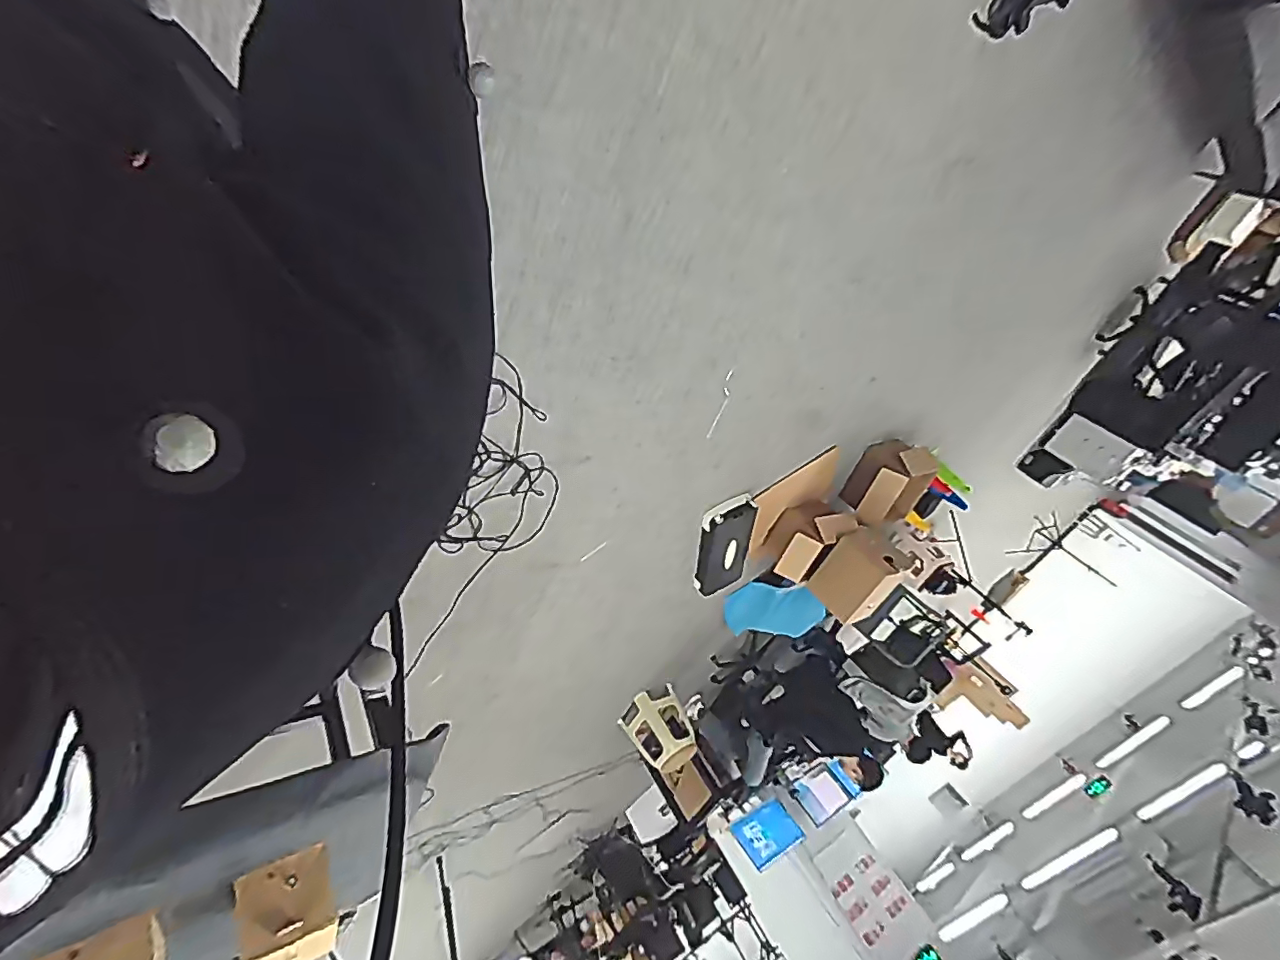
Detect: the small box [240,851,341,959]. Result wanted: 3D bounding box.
[{"bbox_3d":[-0.751,0.947,1.163,0.168,0.176,0.179,-6,131,-37],"label":"small box"}]
